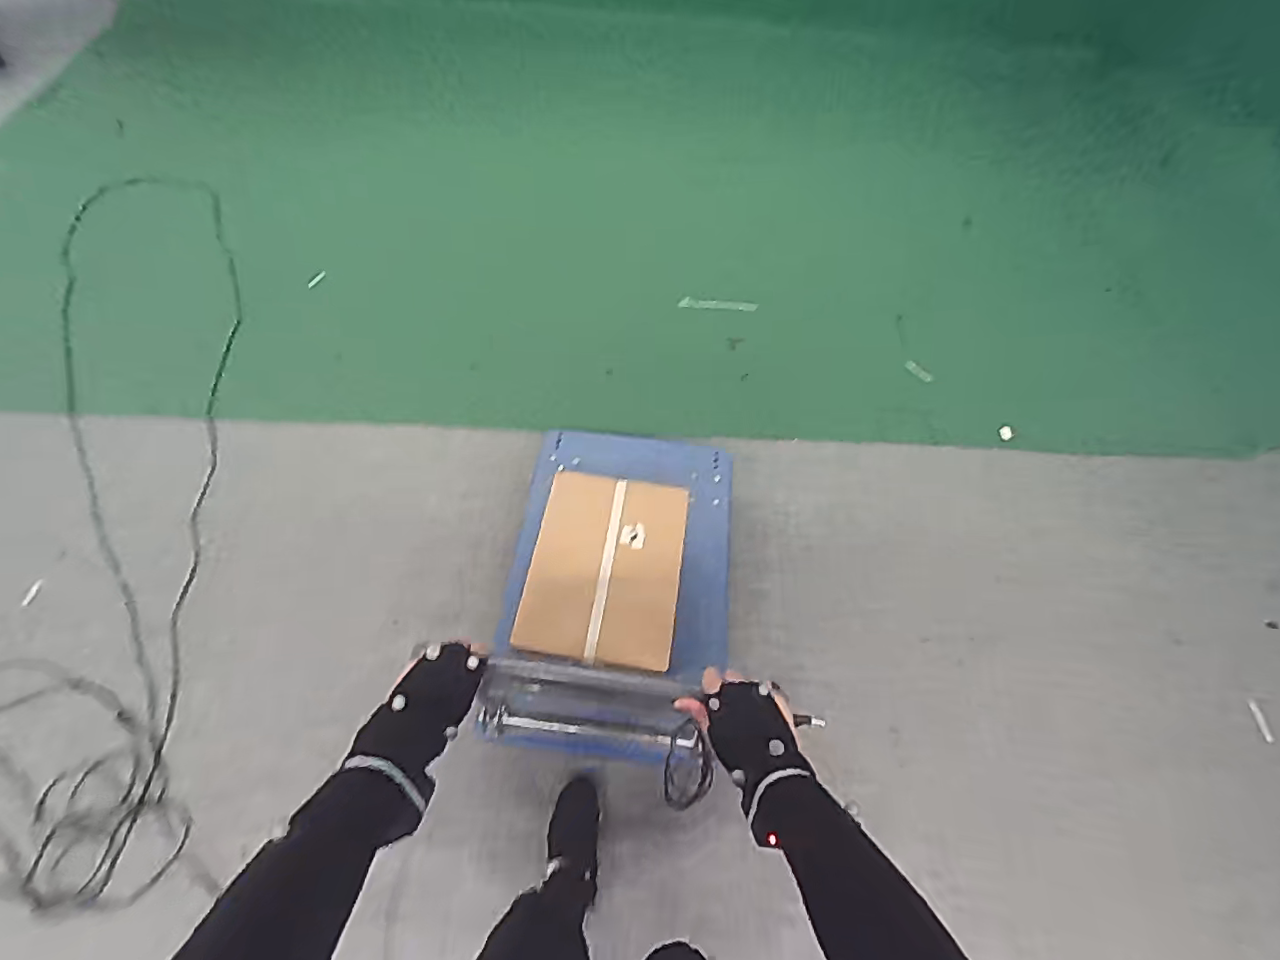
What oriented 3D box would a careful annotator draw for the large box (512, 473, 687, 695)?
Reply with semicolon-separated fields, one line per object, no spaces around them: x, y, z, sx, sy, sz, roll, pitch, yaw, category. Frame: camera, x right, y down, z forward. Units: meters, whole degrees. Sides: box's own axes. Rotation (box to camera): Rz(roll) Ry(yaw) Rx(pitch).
-0.077;0.248;1.257;0.320;0.320;0.408;9;59;1;large box
